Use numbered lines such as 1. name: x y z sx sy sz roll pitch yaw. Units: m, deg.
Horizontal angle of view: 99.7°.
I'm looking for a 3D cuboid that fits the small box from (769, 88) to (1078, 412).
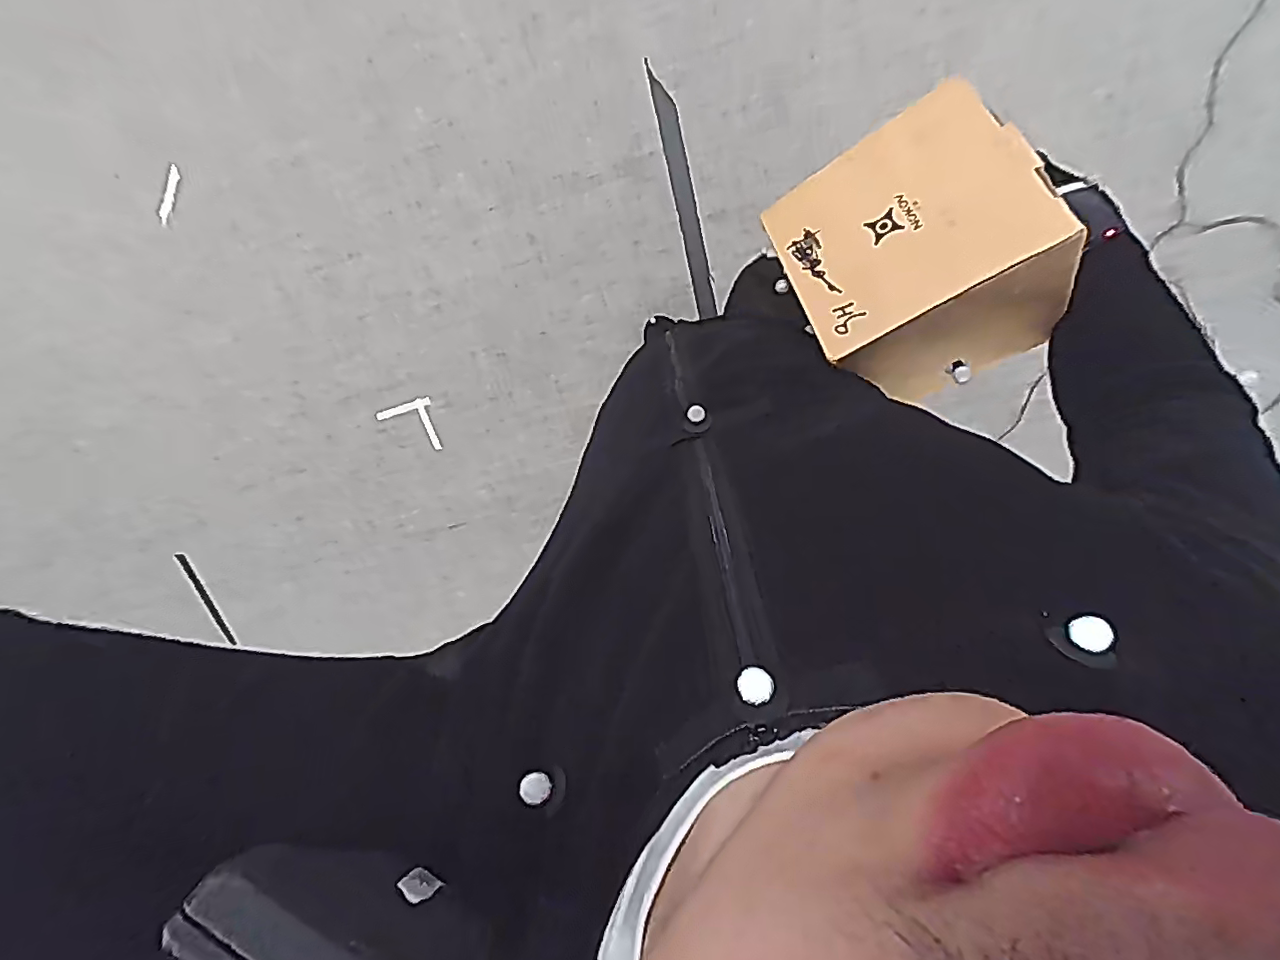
1. small box: 0.248 -0.187 0.496 0.179 0.176 0.168 -26 65 25
